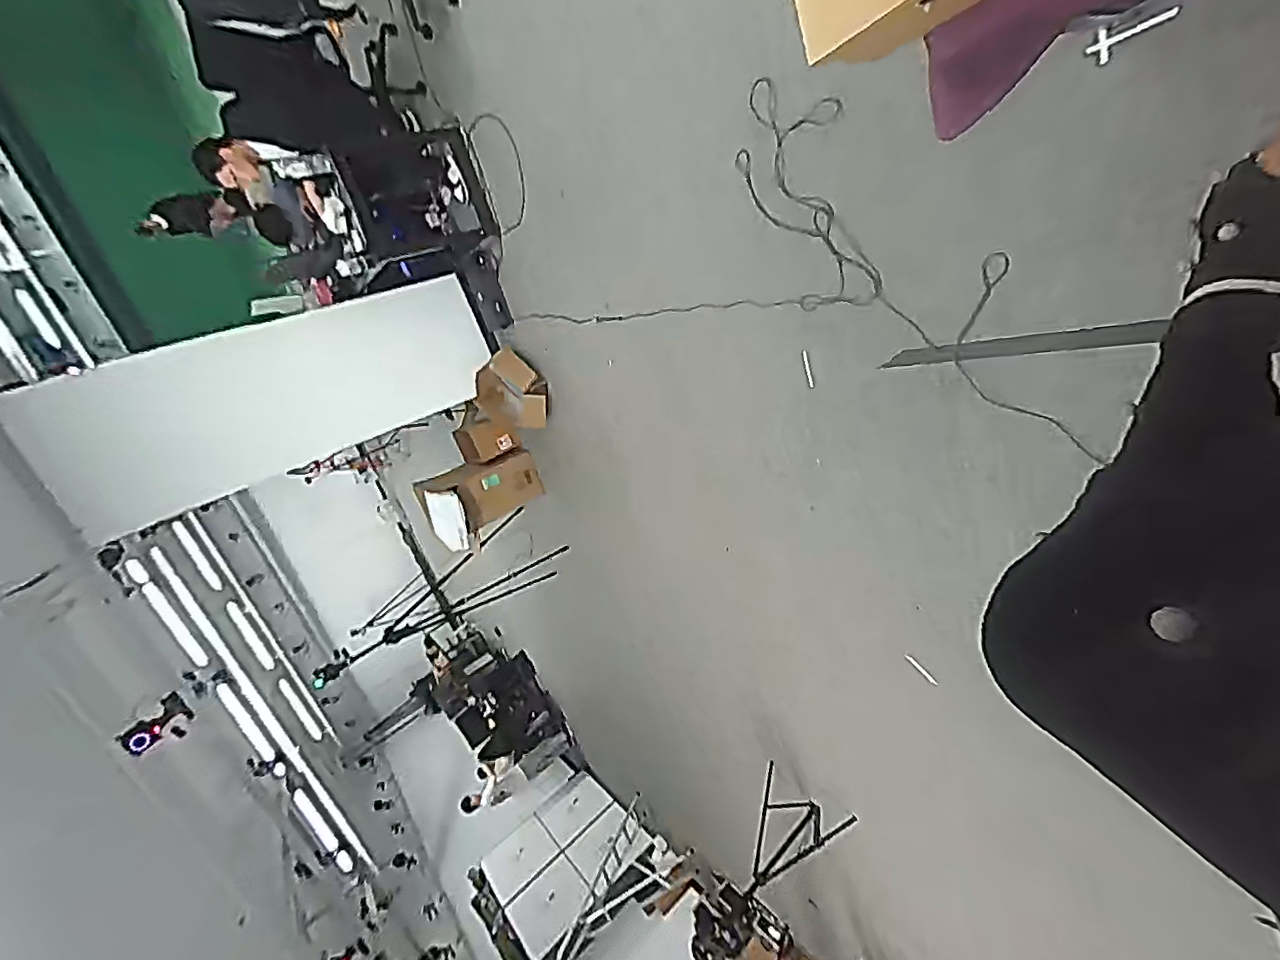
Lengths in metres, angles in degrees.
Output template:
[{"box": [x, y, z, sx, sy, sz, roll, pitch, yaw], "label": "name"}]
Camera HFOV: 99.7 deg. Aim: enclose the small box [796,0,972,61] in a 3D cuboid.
[{"box": [0.298, -0.627, 0.630, 0.179, 0.176, 0.168, 4, 119, 54], "label": "small box"}]
